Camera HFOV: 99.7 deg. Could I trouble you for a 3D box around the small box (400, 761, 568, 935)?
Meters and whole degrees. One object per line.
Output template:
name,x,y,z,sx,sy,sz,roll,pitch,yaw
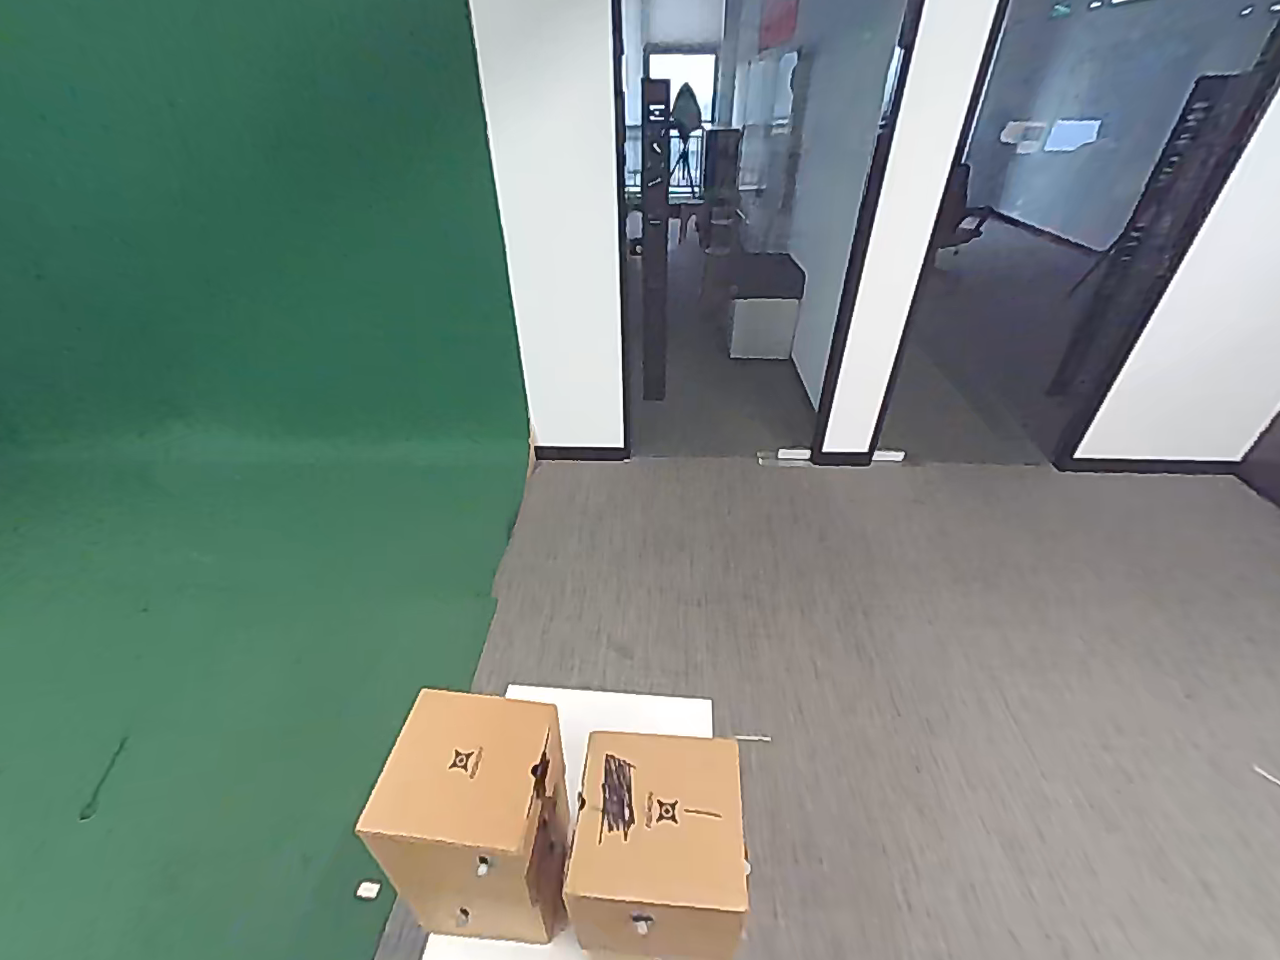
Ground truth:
small box,-0.203,0.510,0.762,0.179,0.176,0.168,4,36,2

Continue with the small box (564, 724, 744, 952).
small box,0.021,0.408,0.621,0.179,0.176,0.168,3,35,4

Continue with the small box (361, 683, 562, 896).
small box,-0.200,0.378,0.664,0.179,0.176,0.168,6,35,3
